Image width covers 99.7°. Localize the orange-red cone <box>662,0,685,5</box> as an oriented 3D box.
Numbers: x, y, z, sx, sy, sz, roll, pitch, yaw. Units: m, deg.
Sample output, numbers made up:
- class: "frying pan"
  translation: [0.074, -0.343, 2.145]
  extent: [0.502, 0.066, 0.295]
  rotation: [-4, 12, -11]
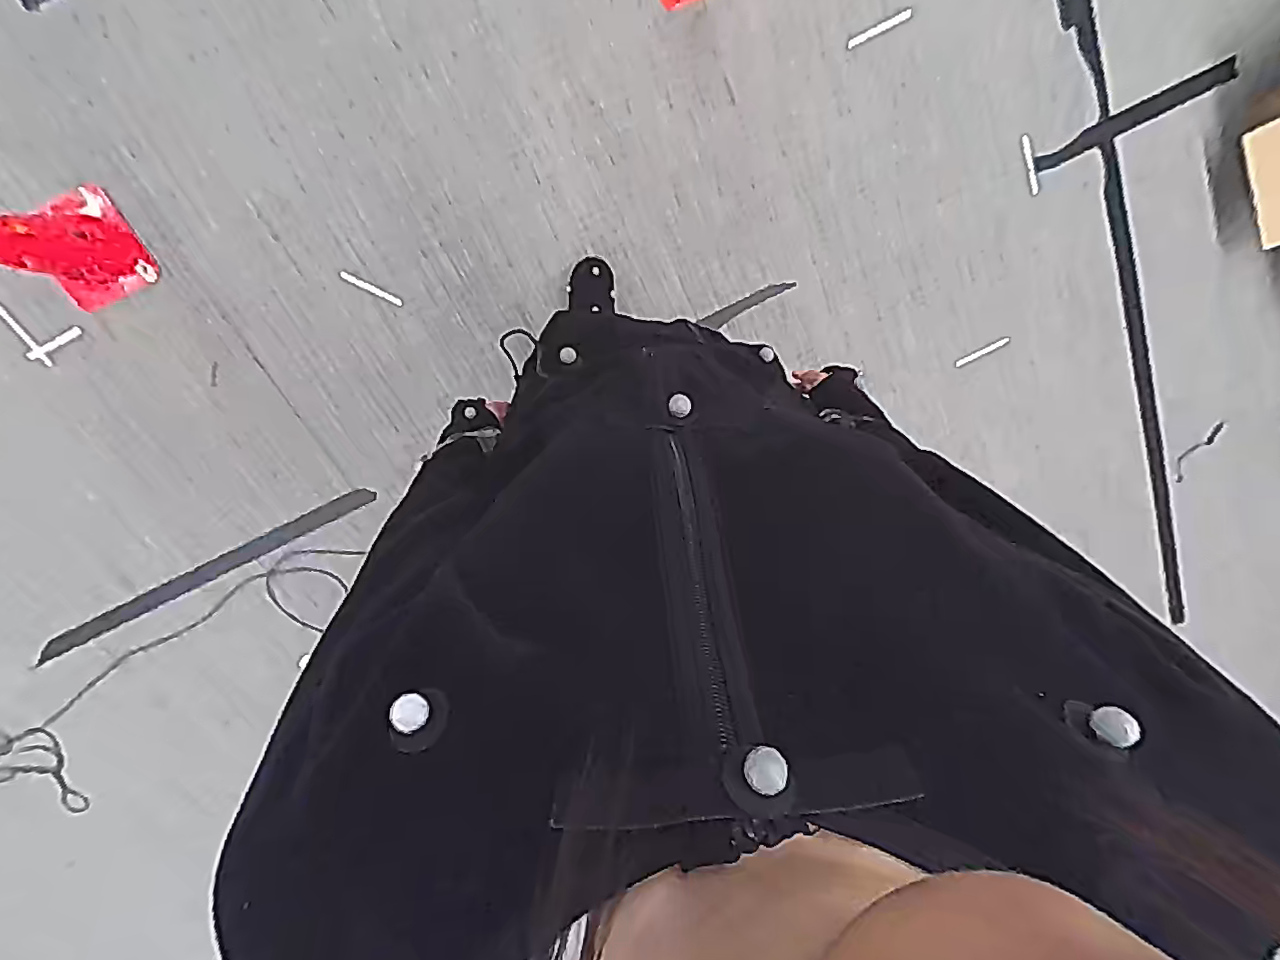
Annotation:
- class: "orange-red cone"
  translation: [0.122, -1.038, 0.919]
  extent: [0.199, 0.360, 0.198]
  rotation: [-23, 110, 1]
